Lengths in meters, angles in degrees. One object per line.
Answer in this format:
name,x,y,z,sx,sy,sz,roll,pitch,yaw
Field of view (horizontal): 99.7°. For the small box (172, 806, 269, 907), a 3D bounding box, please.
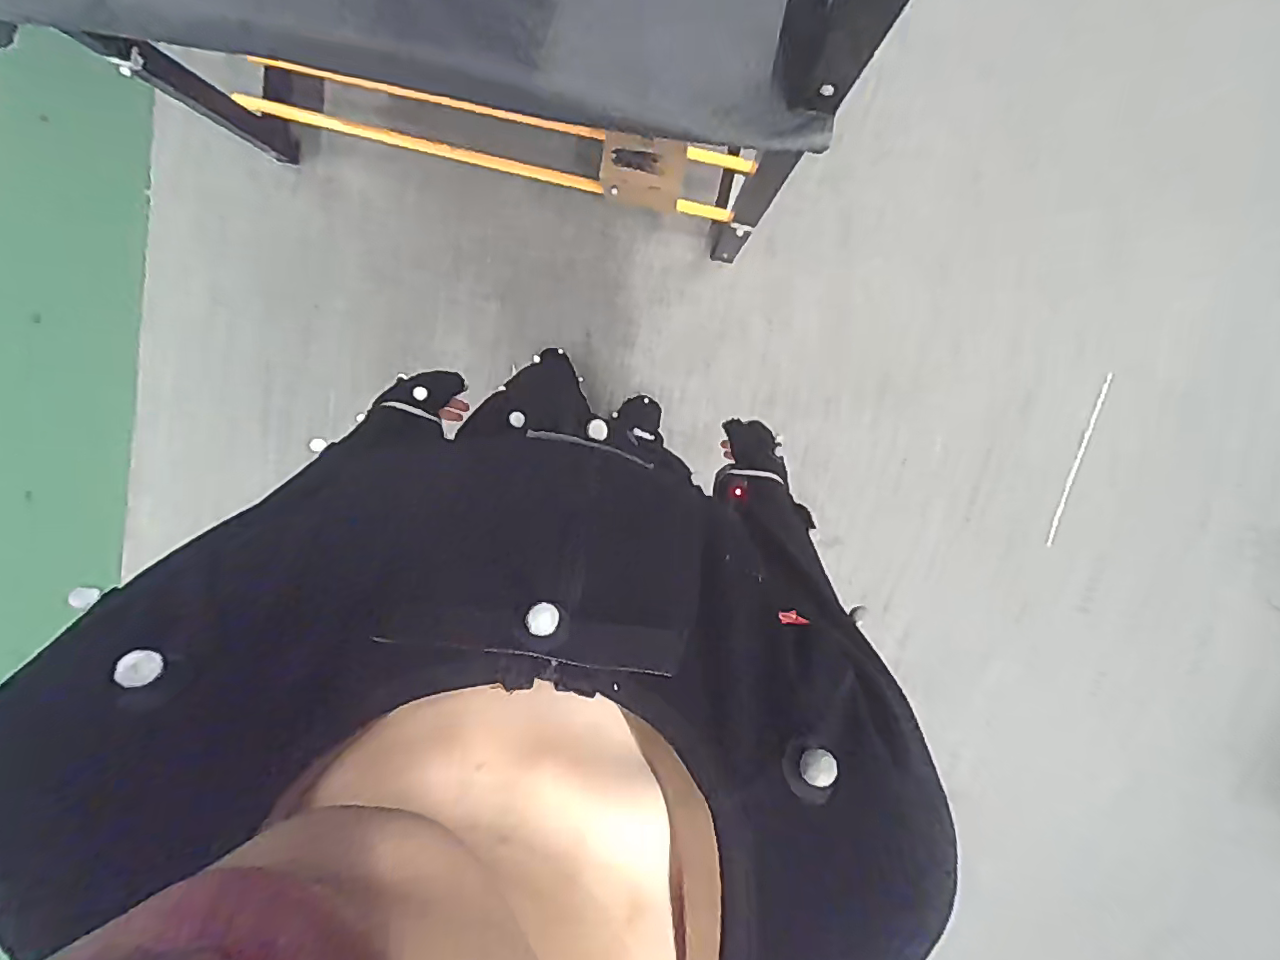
small box,-1.242,1.114,1.610,0.168,0.176,0.179,9,100,0
